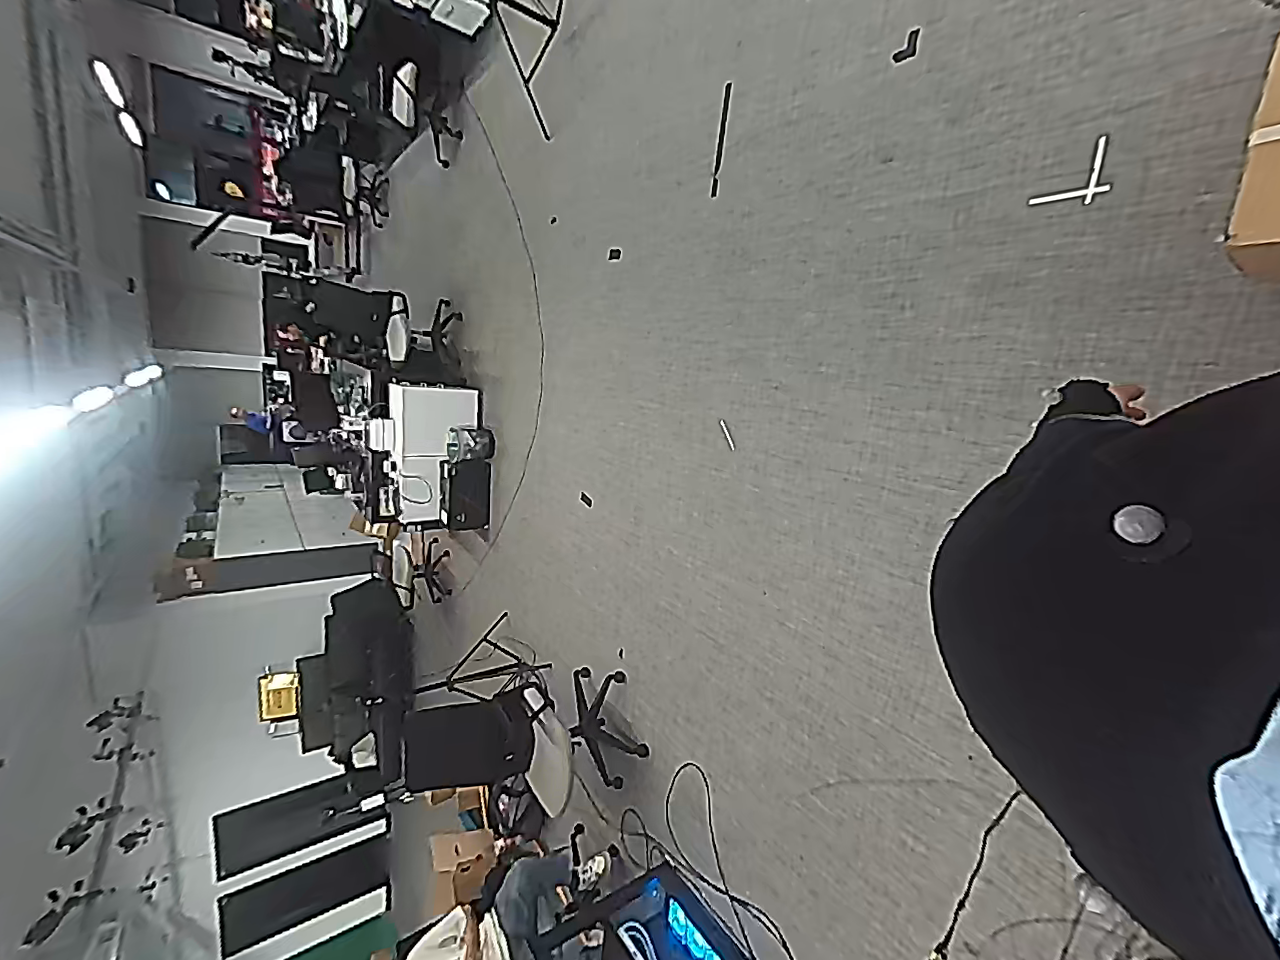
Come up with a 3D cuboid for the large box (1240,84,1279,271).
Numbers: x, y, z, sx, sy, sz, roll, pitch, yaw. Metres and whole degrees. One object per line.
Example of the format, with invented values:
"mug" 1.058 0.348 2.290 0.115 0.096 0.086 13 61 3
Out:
"large box" 1.179 -0.491 0.738 0.408 0.320 0.320 19 107 53
